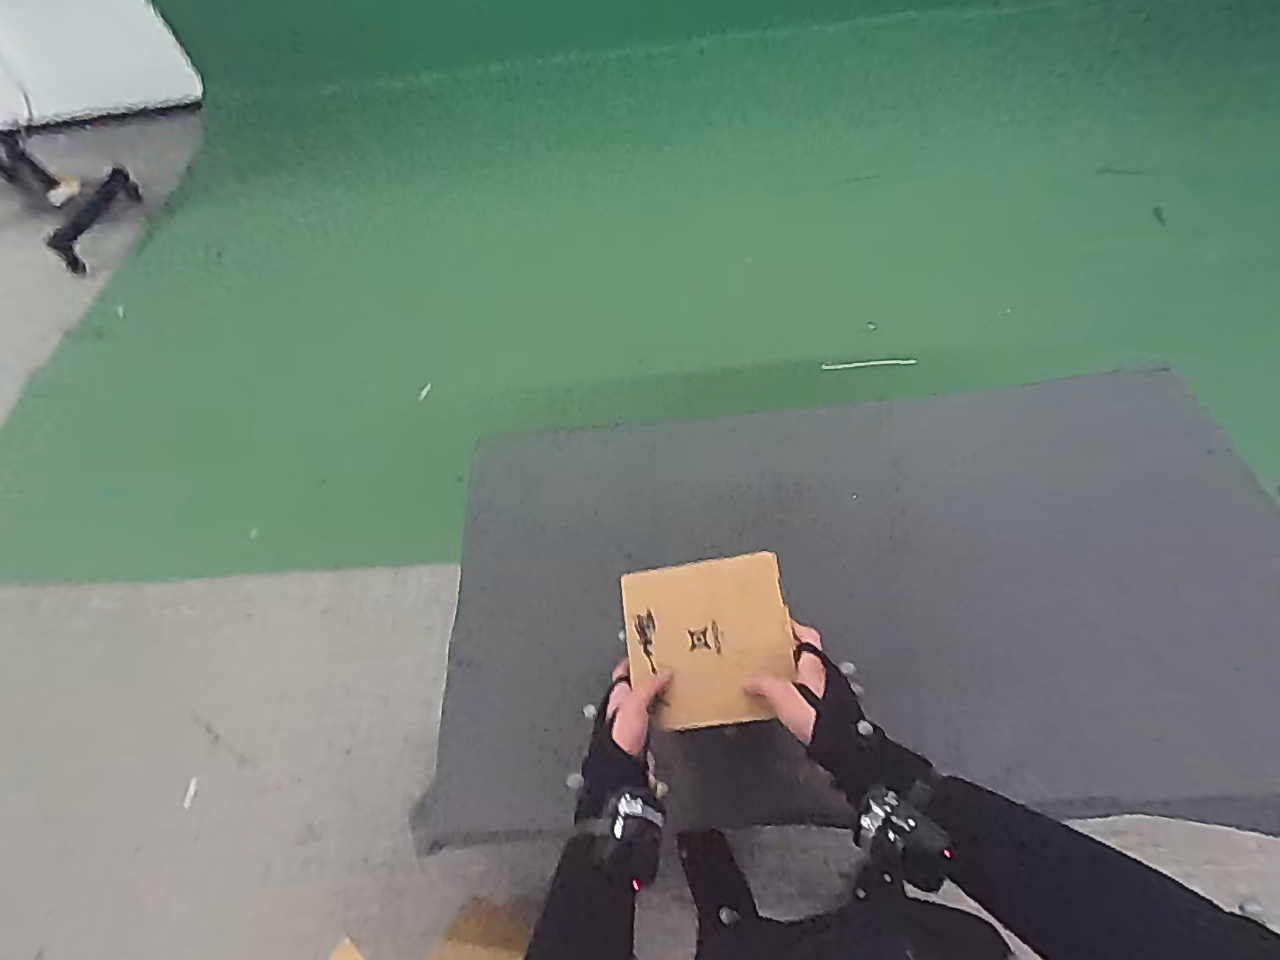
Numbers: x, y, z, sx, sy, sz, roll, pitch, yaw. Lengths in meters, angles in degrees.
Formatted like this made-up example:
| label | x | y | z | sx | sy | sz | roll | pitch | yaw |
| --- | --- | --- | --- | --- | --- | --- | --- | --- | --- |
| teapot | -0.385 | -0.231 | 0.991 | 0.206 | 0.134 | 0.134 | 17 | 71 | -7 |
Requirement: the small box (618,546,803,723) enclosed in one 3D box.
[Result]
| label | x | y | z | sx | sy | sz | roll | pitch | yaw |
| --- | --- | --- | --- | --- | --- | --- | --- | --- | --- |
| small box | 0.081 | 0.187 | 0.639 | 0.179 | 0.176 | 0.168 | -10 | 67 | 8 |
